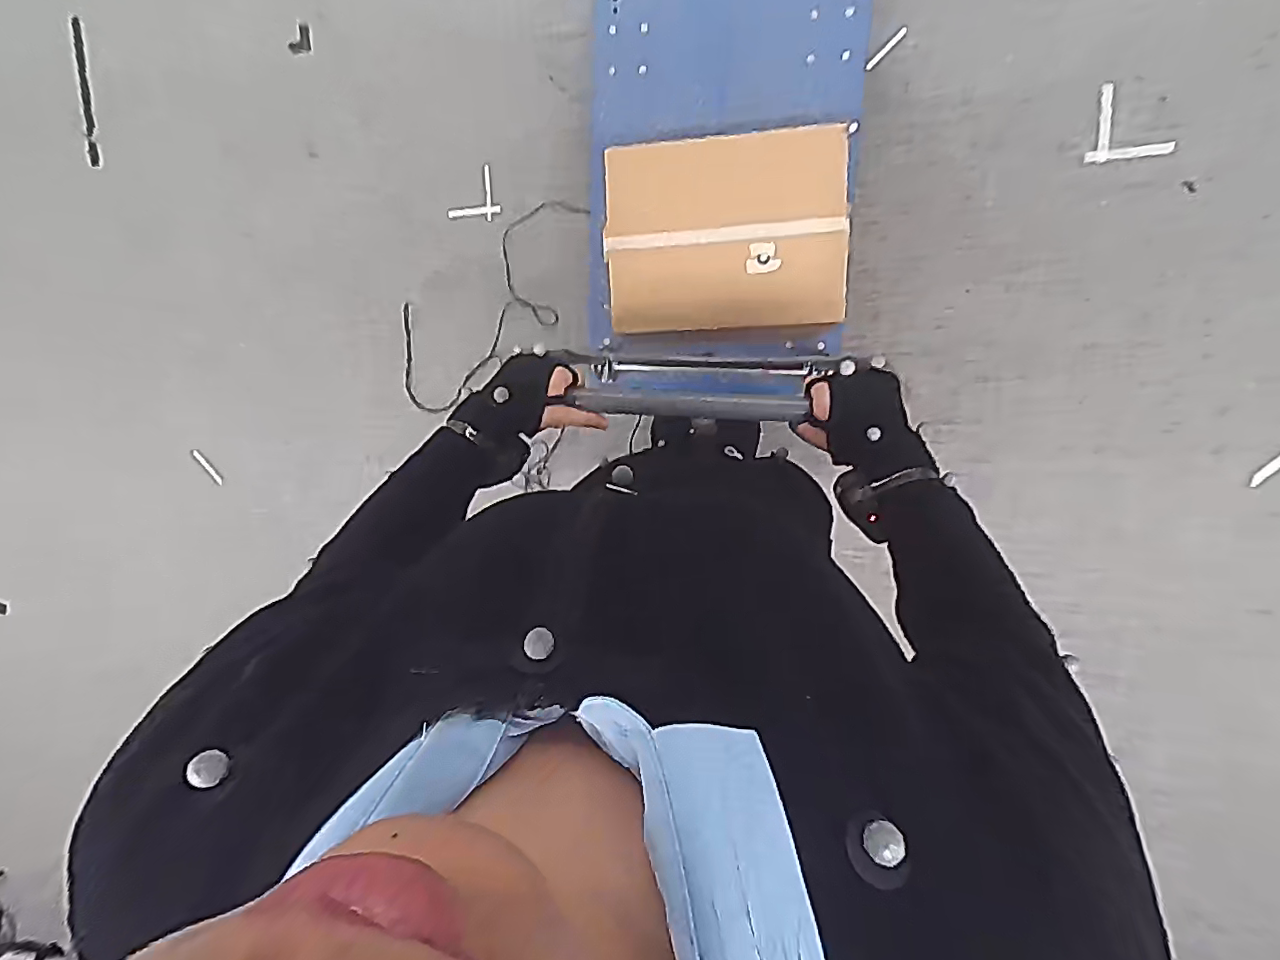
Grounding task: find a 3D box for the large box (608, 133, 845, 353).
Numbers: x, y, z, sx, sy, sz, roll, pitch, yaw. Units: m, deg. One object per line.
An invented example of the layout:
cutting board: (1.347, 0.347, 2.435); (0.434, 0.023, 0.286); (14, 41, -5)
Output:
large box: (0.165, -0.435, 1.081); (0.408, 0.320, 0.320); (-1, 99, 8)
